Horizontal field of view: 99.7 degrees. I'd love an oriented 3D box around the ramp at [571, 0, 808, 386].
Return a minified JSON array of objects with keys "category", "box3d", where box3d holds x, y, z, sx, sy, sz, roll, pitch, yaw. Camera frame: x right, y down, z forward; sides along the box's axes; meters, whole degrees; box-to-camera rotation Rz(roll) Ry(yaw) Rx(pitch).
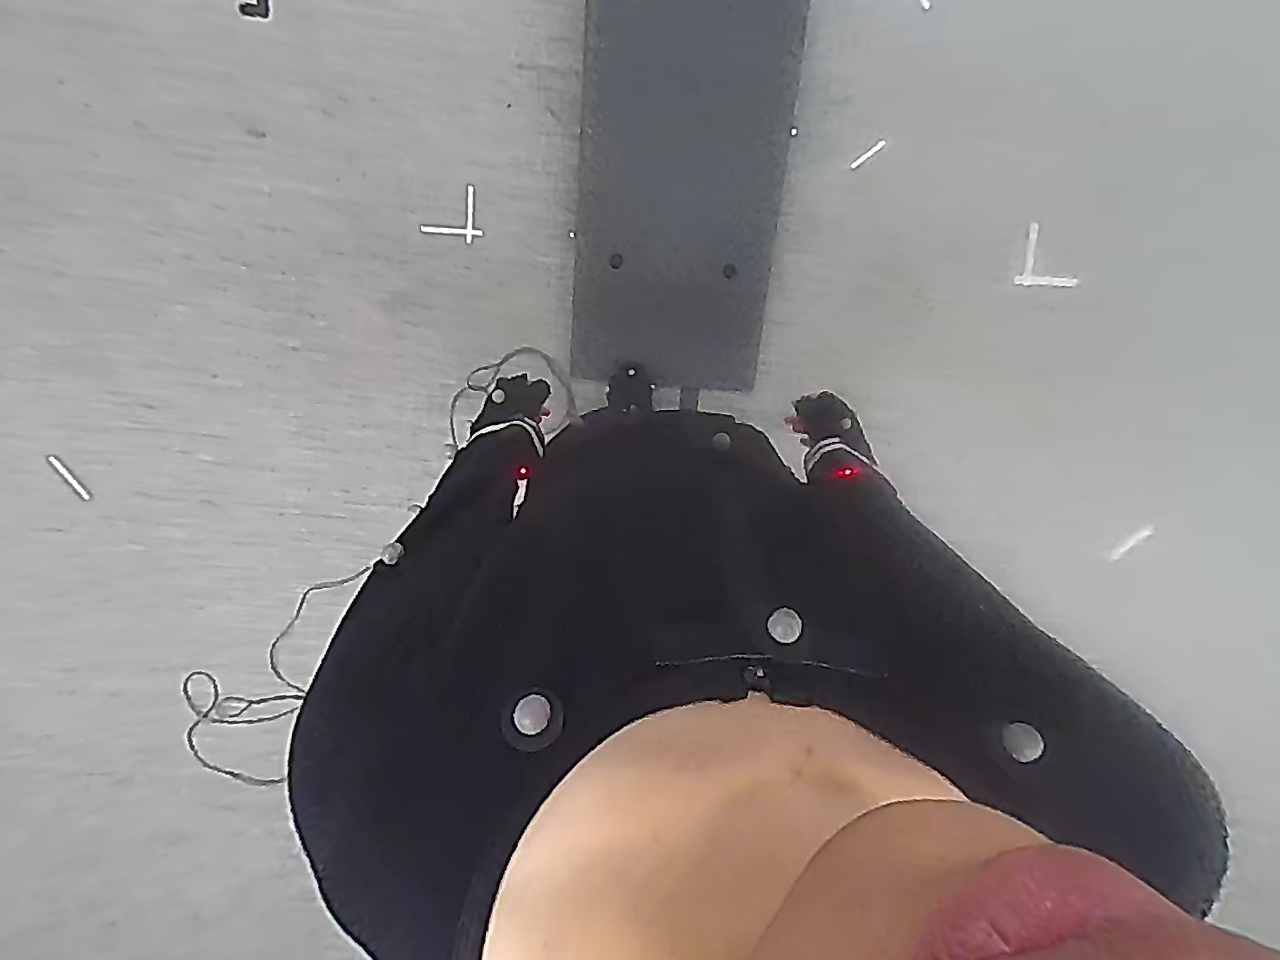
[{"category":"ramp","box3d":[0.098,-0.736,1.278,0.509,0.206,0.991,2,98,-4]}]
